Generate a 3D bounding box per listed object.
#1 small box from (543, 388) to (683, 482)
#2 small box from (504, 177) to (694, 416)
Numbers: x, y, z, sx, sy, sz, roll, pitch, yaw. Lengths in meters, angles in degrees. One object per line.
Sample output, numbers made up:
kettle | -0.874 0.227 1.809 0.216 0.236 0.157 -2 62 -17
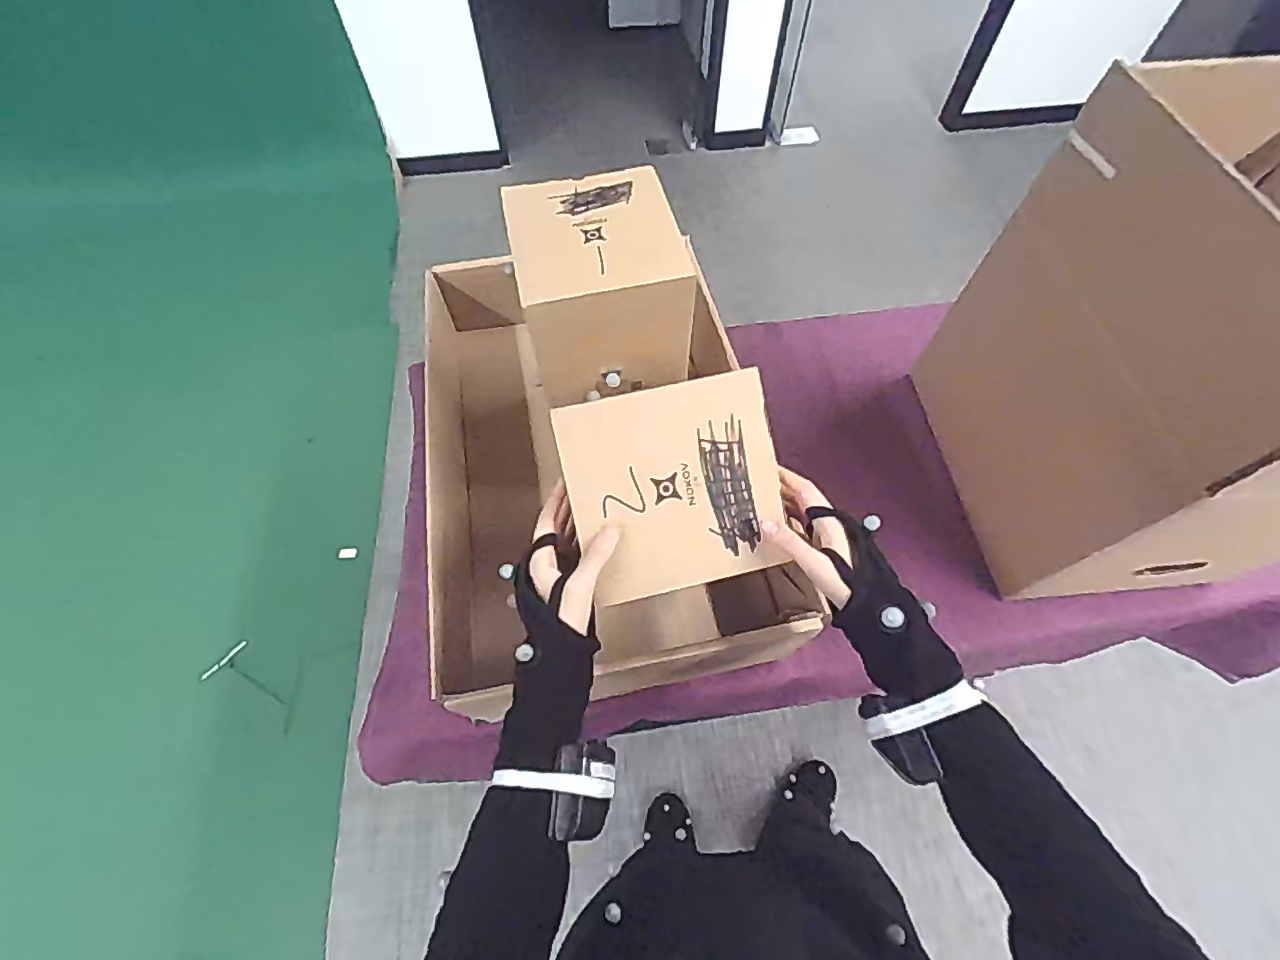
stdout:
small box | -0.041 -0.113 0.744 0.168 0.176 0.179 -13 61 -6
small box | -0.046 -0.199 0.604 0.168 0.176 0.179 -12 63 -5
